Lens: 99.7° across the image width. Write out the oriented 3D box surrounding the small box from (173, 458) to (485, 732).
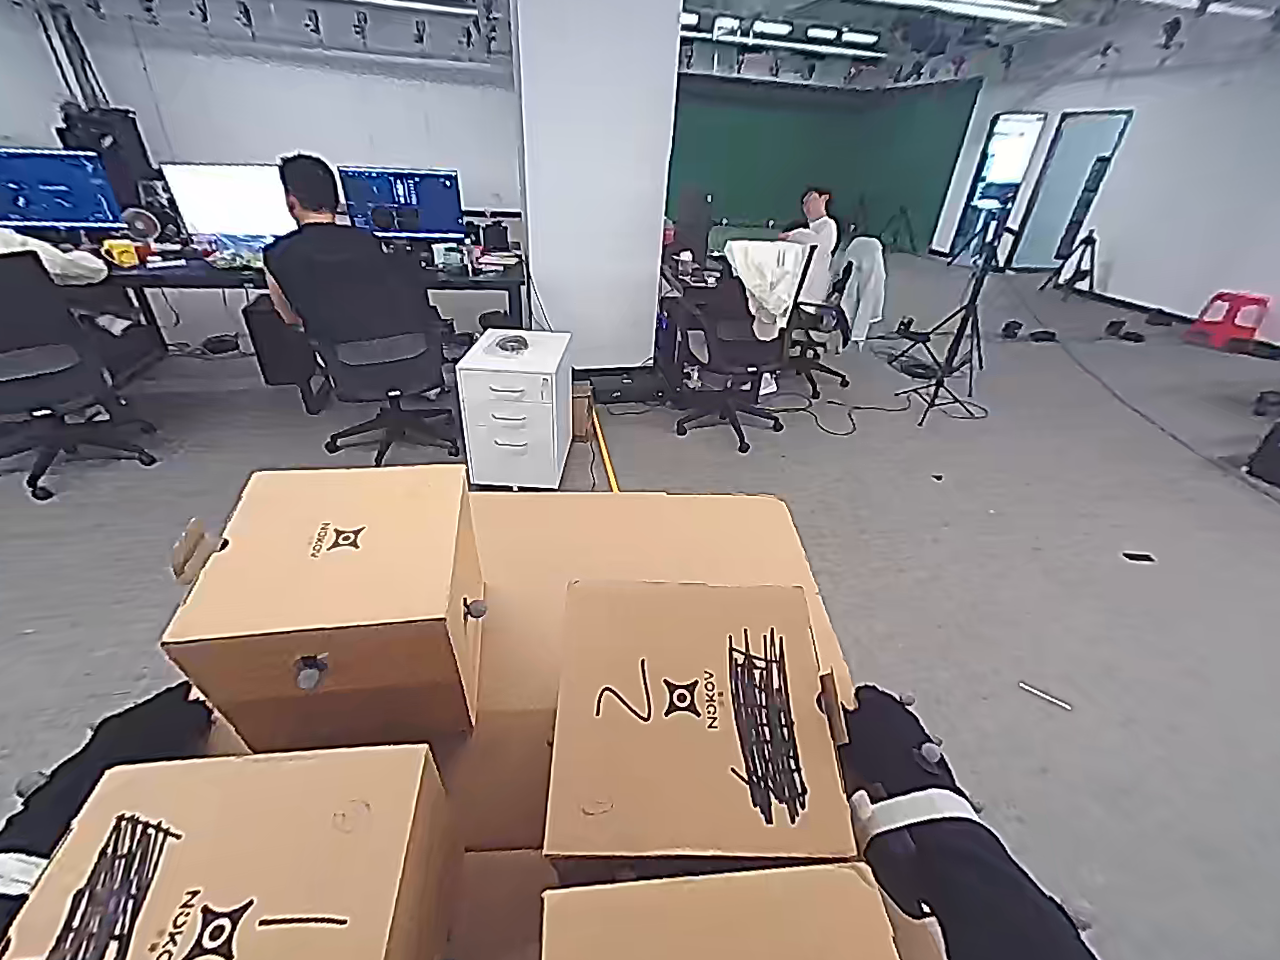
[{"bbox_3d":[-0.236,0.099,0.476,0.179,0.176,0.168,-3,41,-9],"label":"small box"}]
